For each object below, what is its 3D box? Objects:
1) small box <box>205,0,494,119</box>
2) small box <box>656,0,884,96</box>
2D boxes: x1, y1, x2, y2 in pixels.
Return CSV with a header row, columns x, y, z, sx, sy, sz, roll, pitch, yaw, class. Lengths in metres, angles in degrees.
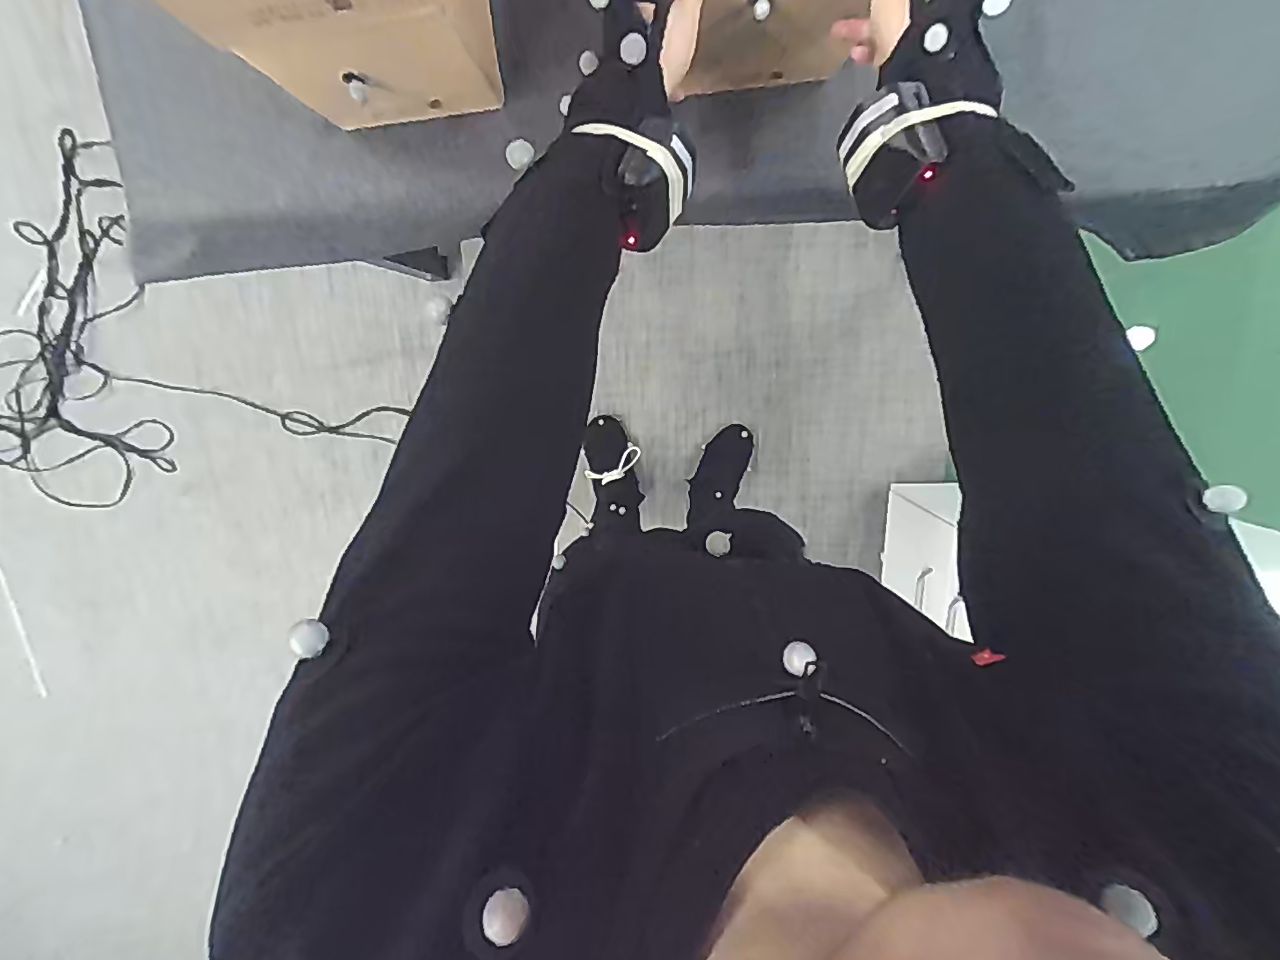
x,y,z,sx,sy,sz,roll,pitch,yaw,class
-0.228,-0.419,0.434,0.168,0.176,0.179,-6,103,2,small box
0.095,-0.445,0.429,0.168,0.176,0.179,-5,104,1,small box
